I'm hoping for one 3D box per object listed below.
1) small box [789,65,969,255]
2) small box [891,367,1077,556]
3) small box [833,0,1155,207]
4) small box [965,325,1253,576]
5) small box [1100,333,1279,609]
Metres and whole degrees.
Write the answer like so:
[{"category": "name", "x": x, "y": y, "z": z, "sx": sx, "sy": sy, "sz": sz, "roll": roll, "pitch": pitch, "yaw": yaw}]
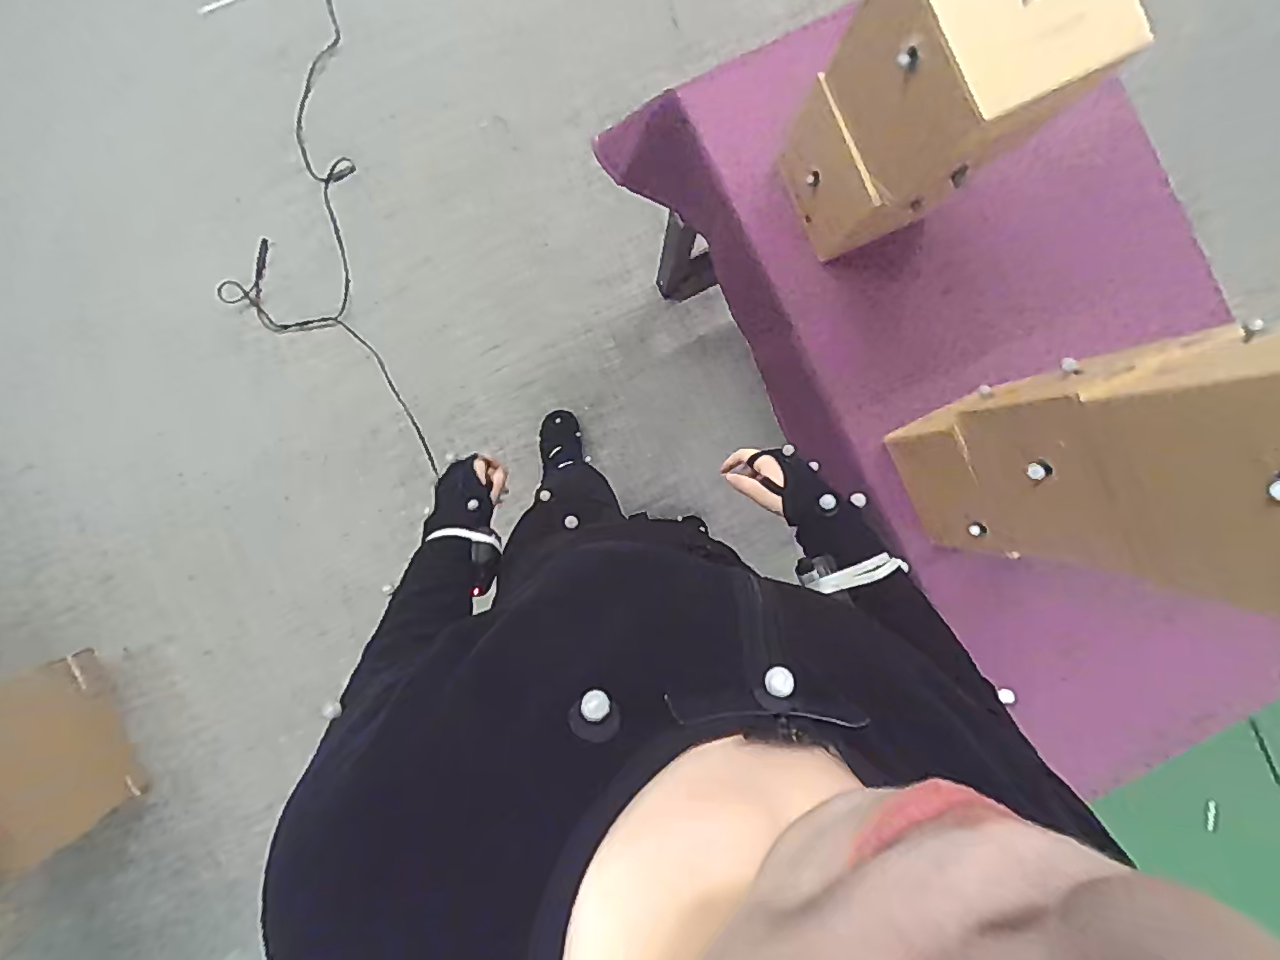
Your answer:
[{"category": "small box", "x": 0.309, "y": -0.419, "z": 0.690, "sx": 0.179, "sy": 0.176, "sz": 0.168, "roll": -24, "pitch": 92, "yaw": -2}, {"category": "small box", "x": 0.466, "y": -0.021, "z": 0.705, "sx": 0.168, "sy": 0.176, "sz": 0.179, "roll": -26, "pitch": 92, "yaw": -2}, {"category": "small box", "x": 0.319, "y": -0.411, "z": 0.527, "sx": 0.168, "sy": 0.176, "sz": 0.179, "roll": -25, "pitch": 92, "yaw": -1}, {"category": "small box", "x": 0.470, "y": -0.025, "z": 0.541, "sx": 0.168, "sy": 0.176, "sz": 0.179, "roll": -22, "pitch": 91, "yaw": -2}, {"category": "small box", "x": 0.480, "y": -0.013, "z": 0.376, "sx": 0.168, "sy": 0.176, "sz": 0.179, "roll": -22, "pitch": 93, "yaw": -2}]
